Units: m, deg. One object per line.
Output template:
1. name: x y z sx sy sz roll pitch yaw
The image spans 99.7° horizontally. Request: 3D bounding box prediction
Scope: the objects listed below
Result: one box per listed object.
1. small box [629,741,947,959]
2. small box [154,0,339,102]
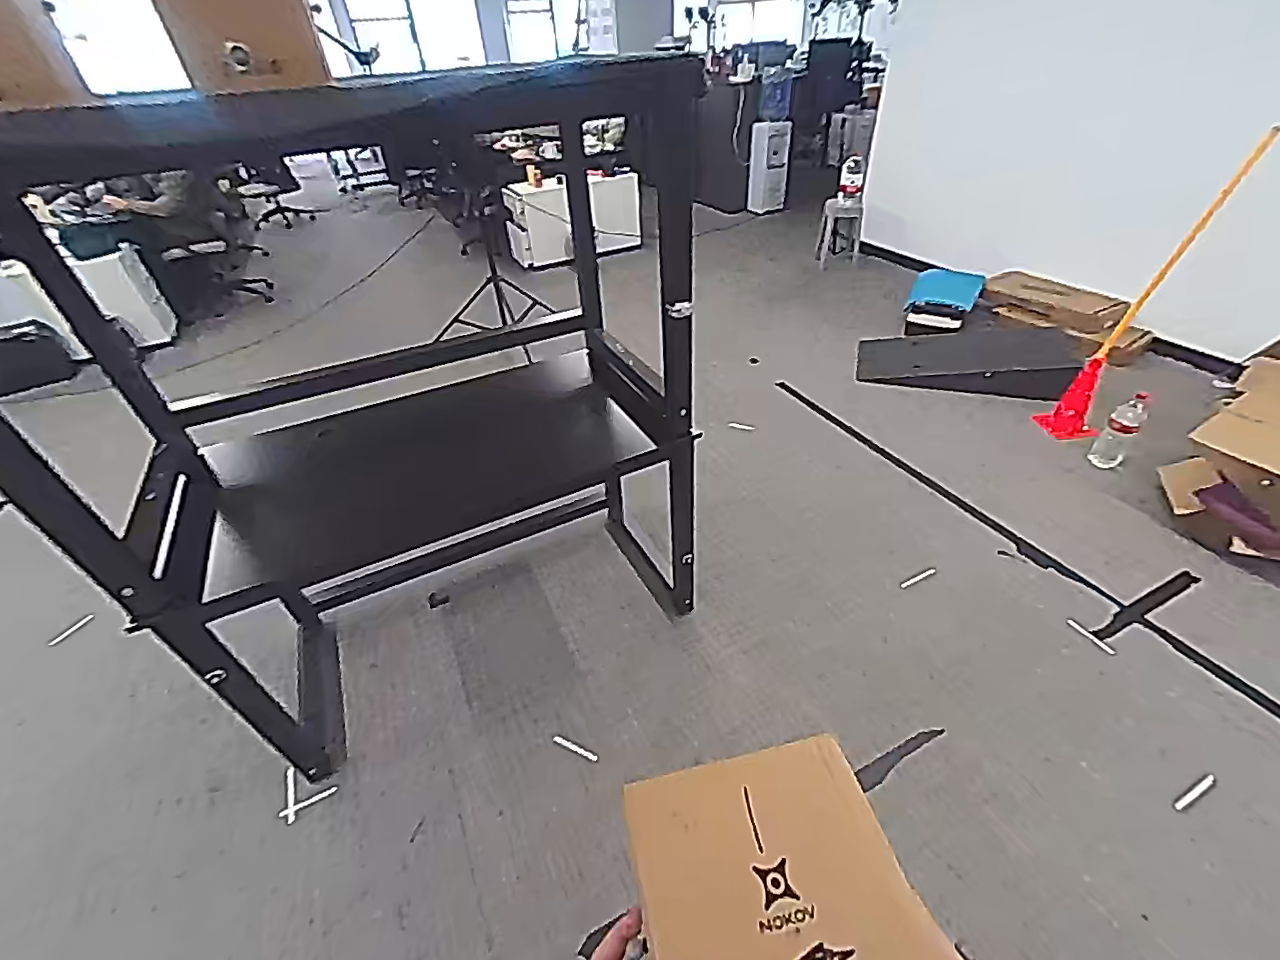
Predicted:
1. small box: 0.091 0.323 0.383 0.168 0.176 0.179 -8 40 -9
2. small box: -0.516 -0.603 0.709 0.168 0.176 0.179 -19 40 -16
